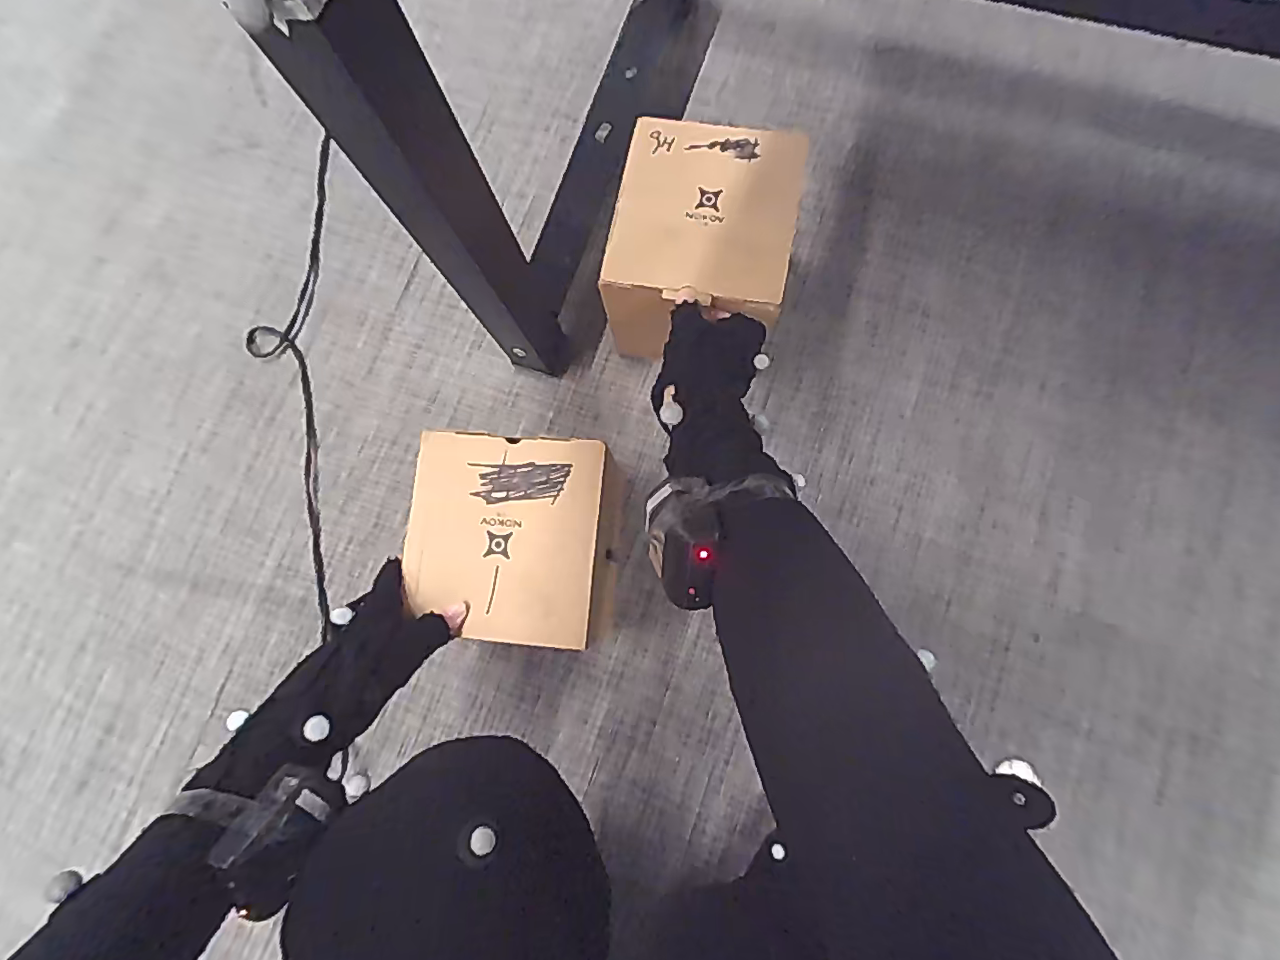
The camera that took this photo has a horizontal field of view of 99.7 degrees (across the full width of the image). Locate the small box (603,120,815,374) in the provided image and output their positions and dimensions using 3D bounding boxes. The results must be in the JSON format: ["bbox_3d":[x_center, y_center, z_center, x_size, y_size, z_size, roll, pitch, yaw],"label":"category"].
[{"bbox_3d":[0.068,-0.229,0.572,0.168,0.176,0.179,12,82,5],"label":"small box"}]
